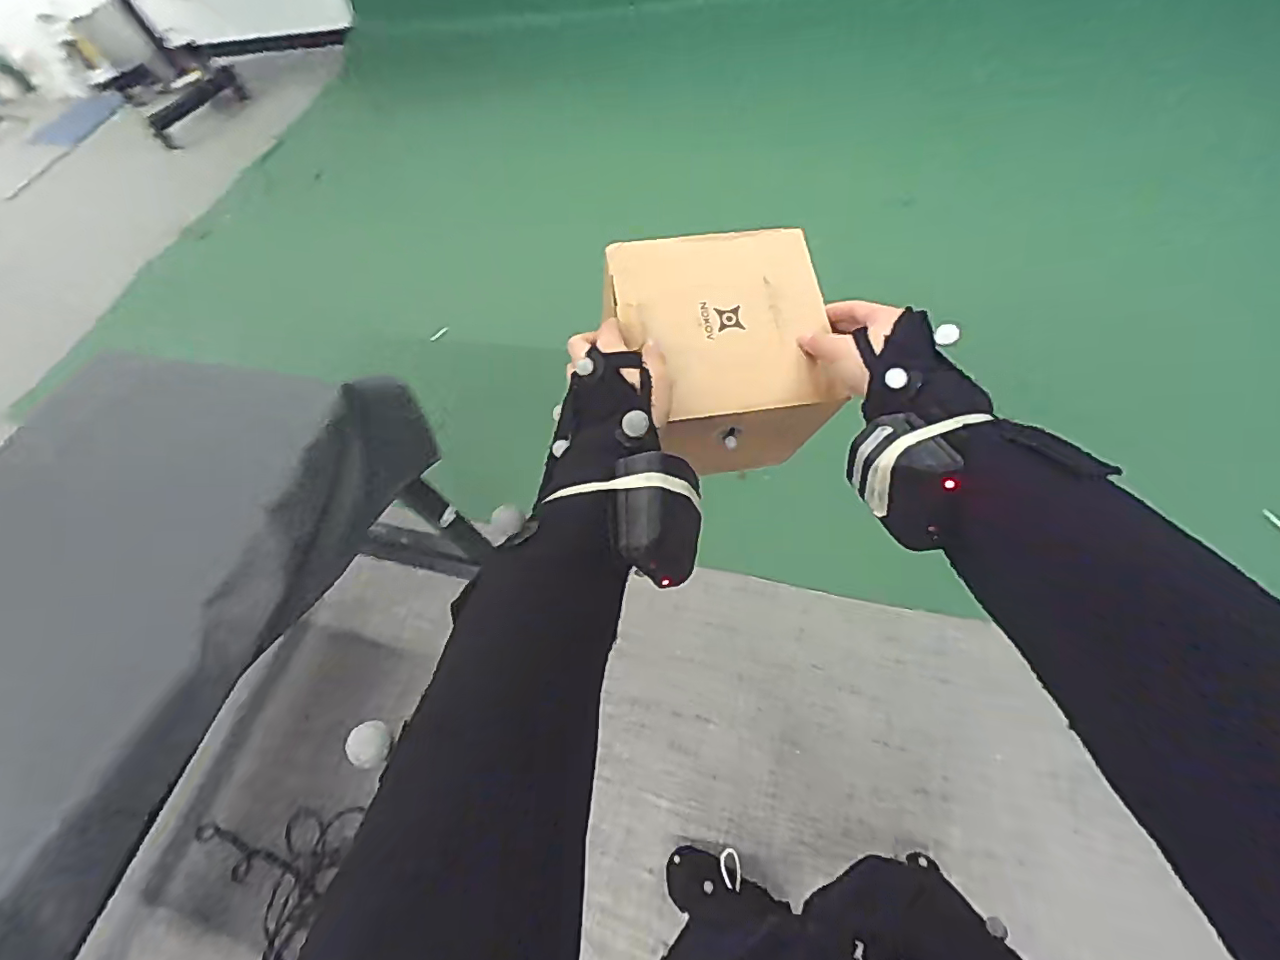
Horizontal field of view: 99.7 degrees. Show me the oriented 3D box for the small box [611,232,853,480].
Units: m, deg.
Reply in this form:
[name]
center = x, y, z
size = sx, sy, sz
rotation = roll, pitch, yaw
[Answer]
[small box]
center = 0.067, -0.105, 0.515
size = 0.179, 0.176, 0.168
rotation = -7, 74, -7
